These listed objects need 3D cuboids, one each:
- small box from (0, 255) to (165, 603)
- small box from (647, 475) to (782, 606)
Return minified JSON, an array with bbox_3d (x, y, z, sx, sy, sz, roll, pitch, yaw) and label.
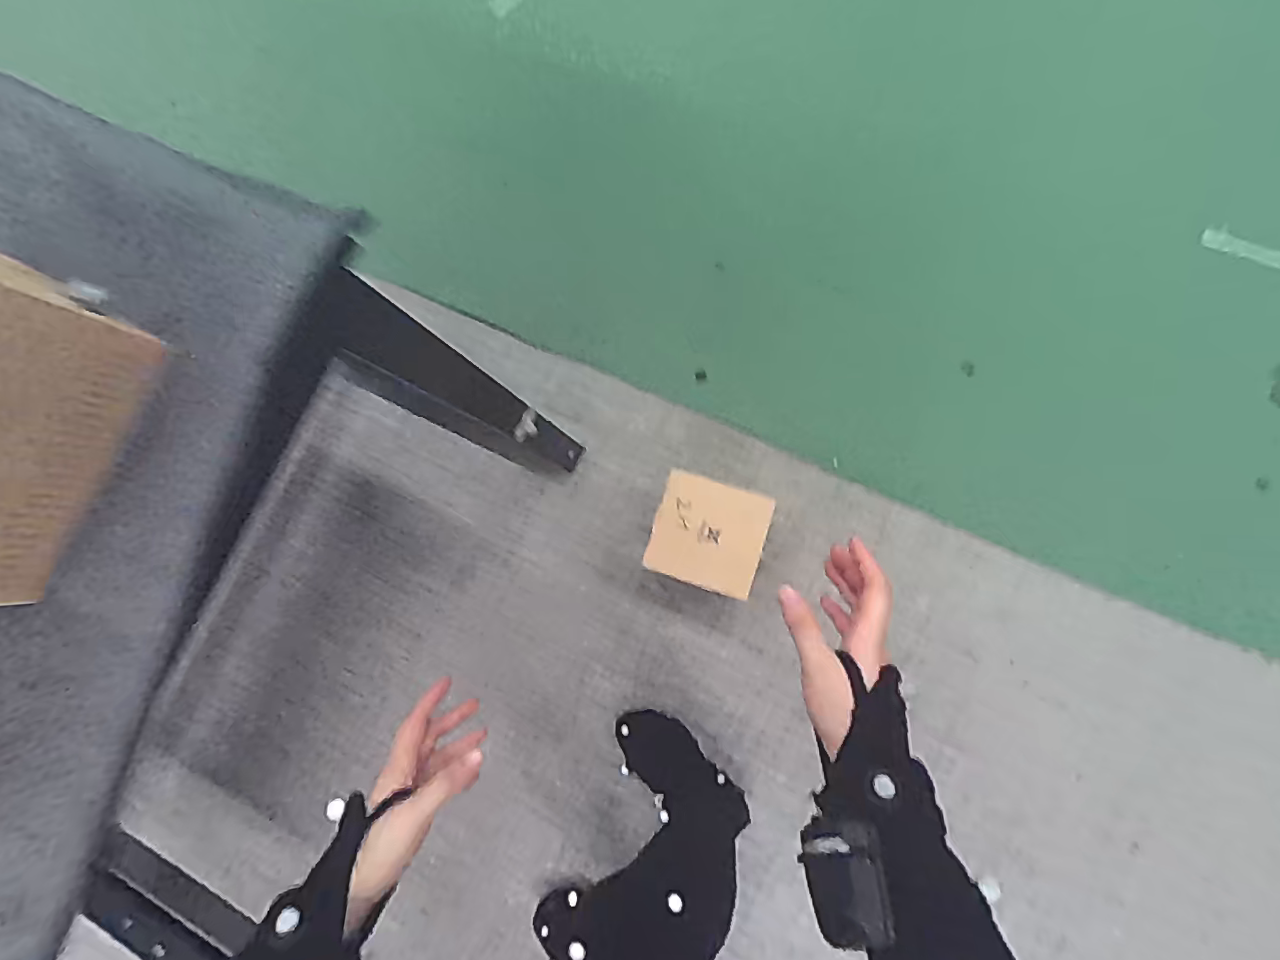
[{"bbox_3d":[-0.401,-0.046,0.271,0.168,0.176,0.179,26,88,14],"label":"small box"},{"bbox_3d":[0.126,0.102,0.926,0.179,0.176,0.168,17,84,9],"label":"small box"}]
